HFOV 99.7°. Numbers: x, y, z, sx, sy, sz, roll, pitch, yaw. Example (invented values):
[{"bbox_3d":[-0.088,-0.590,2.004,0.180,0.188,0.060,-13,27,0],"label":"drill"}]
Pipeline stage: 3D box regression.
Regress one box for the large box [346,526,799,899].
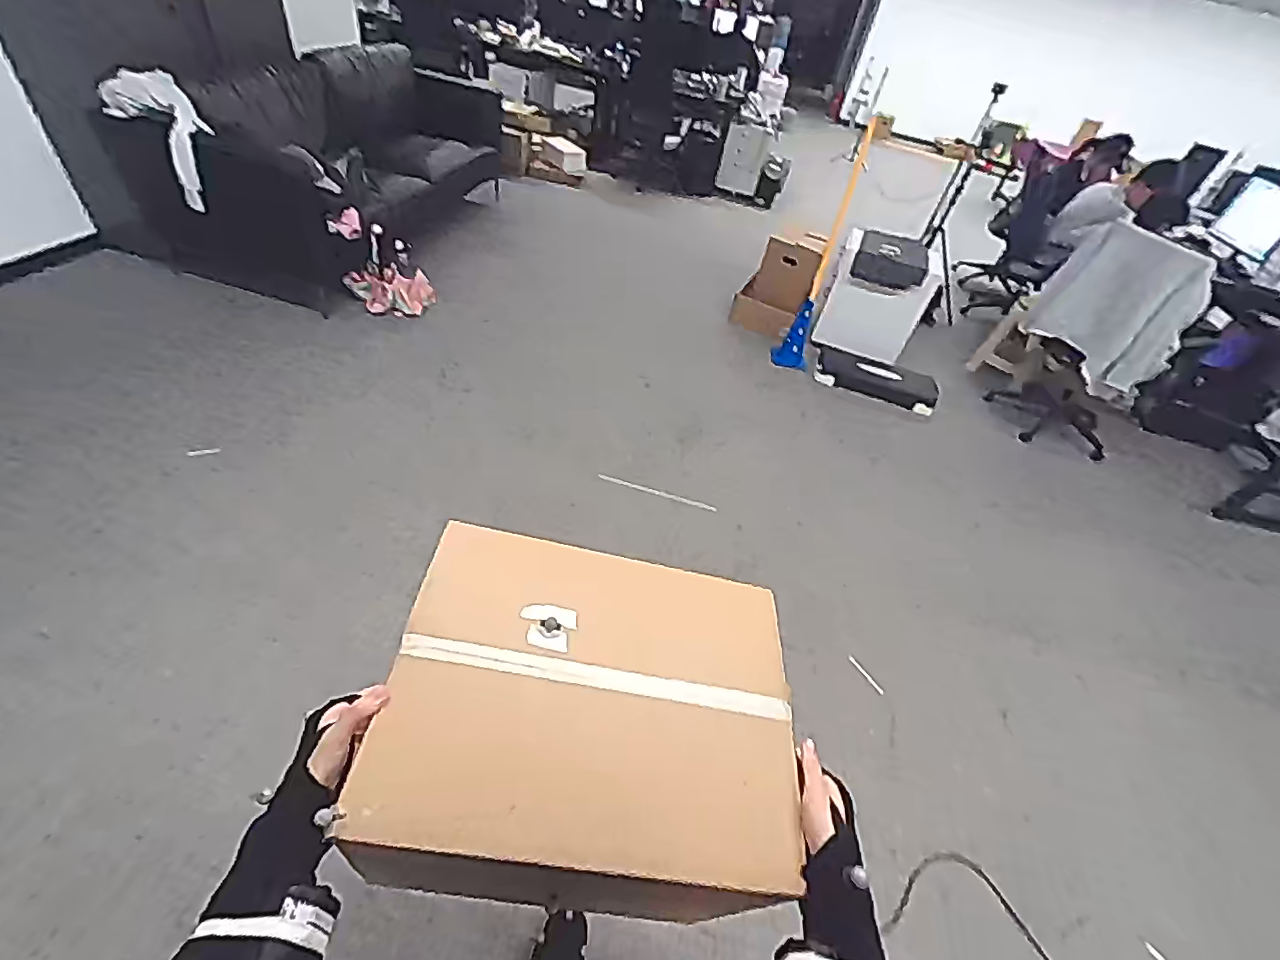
[{"bbox_3d":[-0.072,0.302,0.668,0.408,0.320,0.320,13,46,-8],"label":"large box"}]
